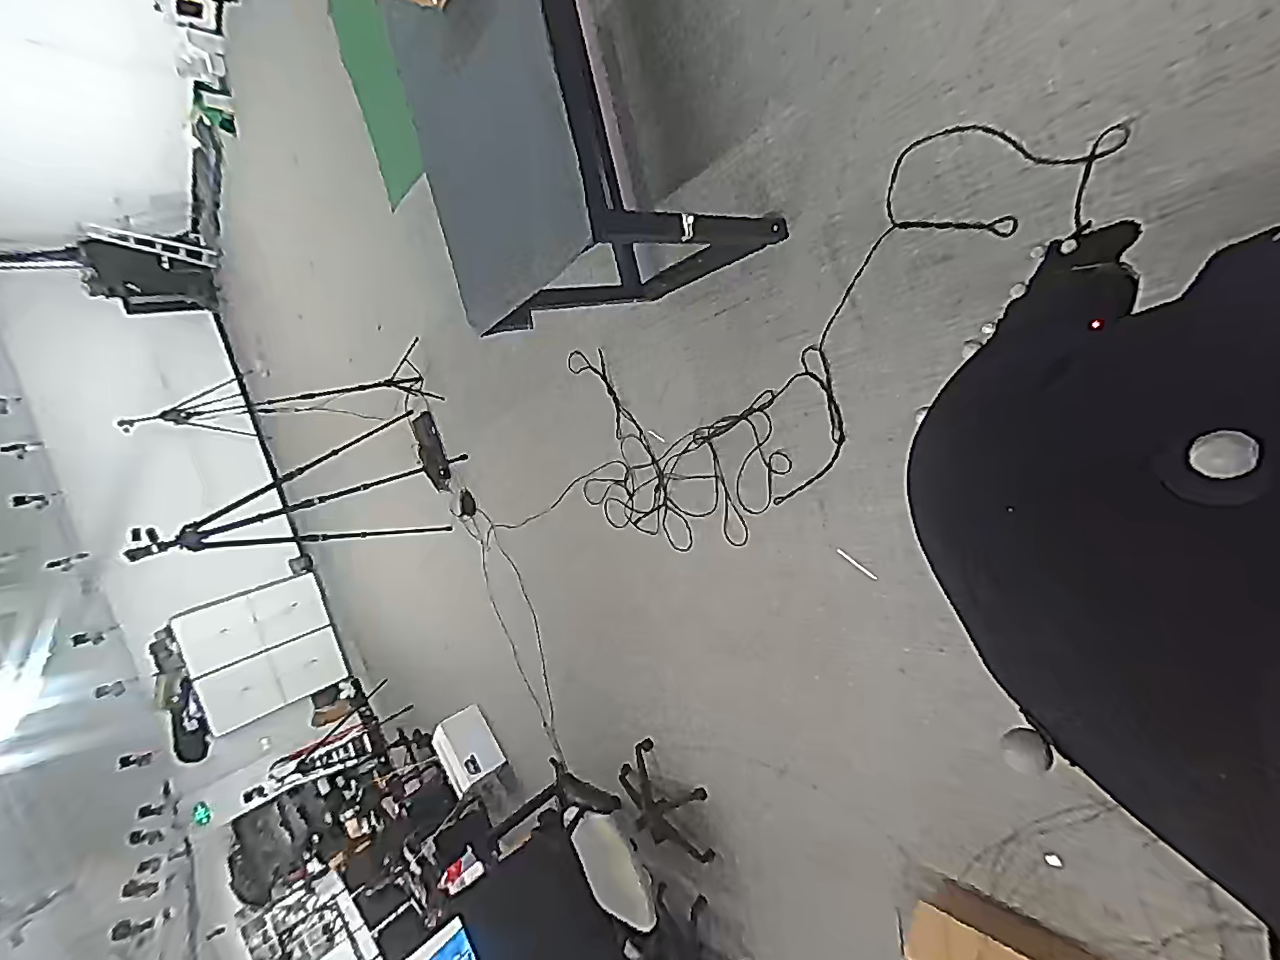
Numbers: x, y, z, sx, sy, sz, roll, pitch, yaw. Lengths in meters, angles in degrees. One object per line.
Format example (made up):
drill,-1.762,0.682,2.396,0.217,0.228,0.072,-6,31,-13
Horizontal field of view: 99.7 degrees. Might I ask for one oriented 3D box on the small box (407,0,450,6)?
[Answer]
small box,-0.462,-1.117,1.098,0.168,0.176,0.179,-4,102,49
